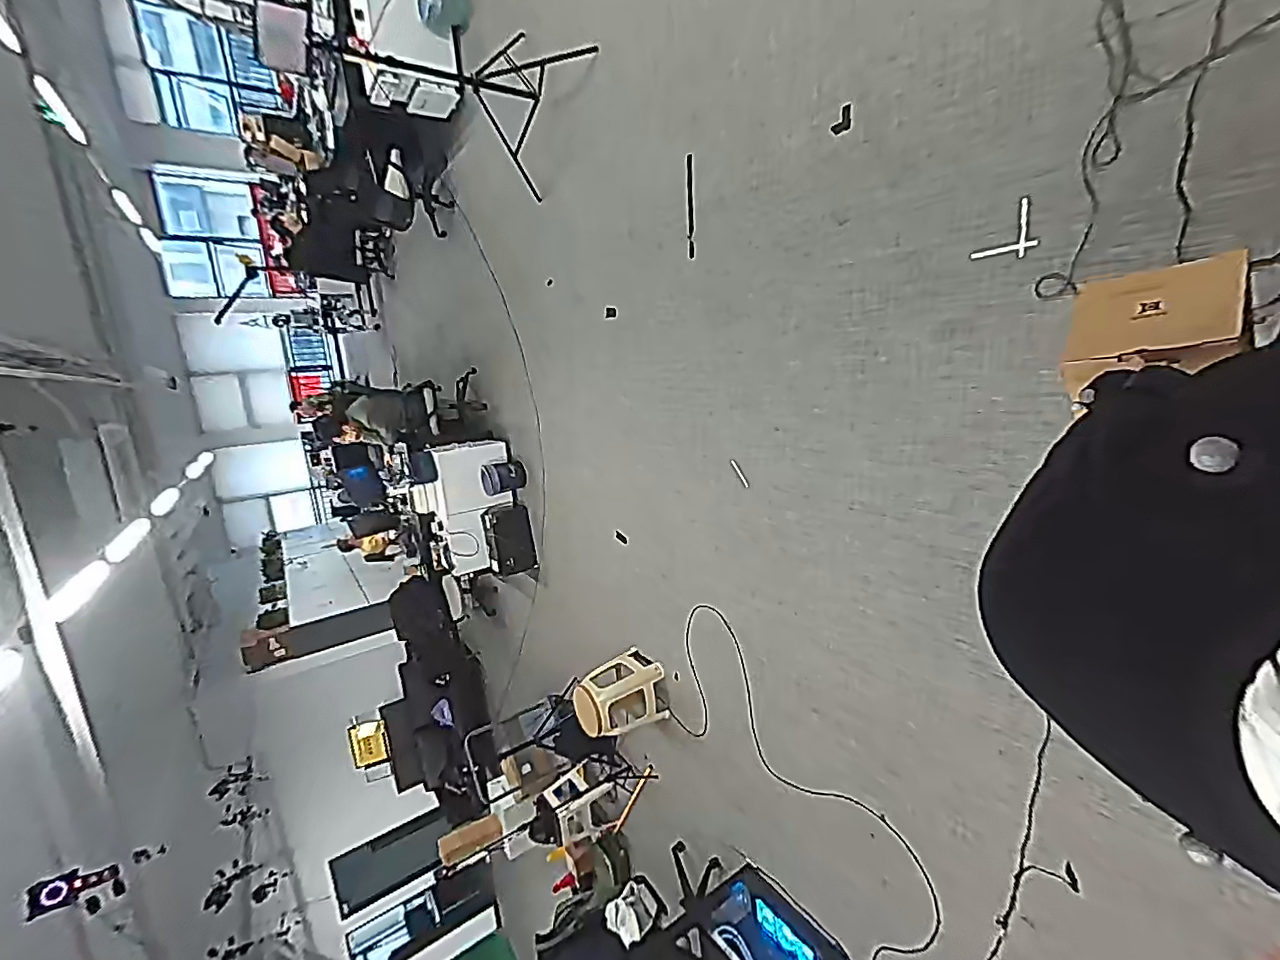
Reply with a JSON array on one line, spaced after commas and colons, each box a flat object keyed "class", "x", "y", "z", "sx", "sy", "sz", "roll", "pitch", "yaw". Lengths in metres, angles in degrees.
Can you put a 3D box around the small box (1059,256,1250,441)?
[{"class": "small box", "x": 0.711, "y": -0.165, "z": 0.745, "sx": 0.168, "sy": 0.179, "sz": 0.176, "roll": 1, "pitch": 139, "yaw": 51}]
